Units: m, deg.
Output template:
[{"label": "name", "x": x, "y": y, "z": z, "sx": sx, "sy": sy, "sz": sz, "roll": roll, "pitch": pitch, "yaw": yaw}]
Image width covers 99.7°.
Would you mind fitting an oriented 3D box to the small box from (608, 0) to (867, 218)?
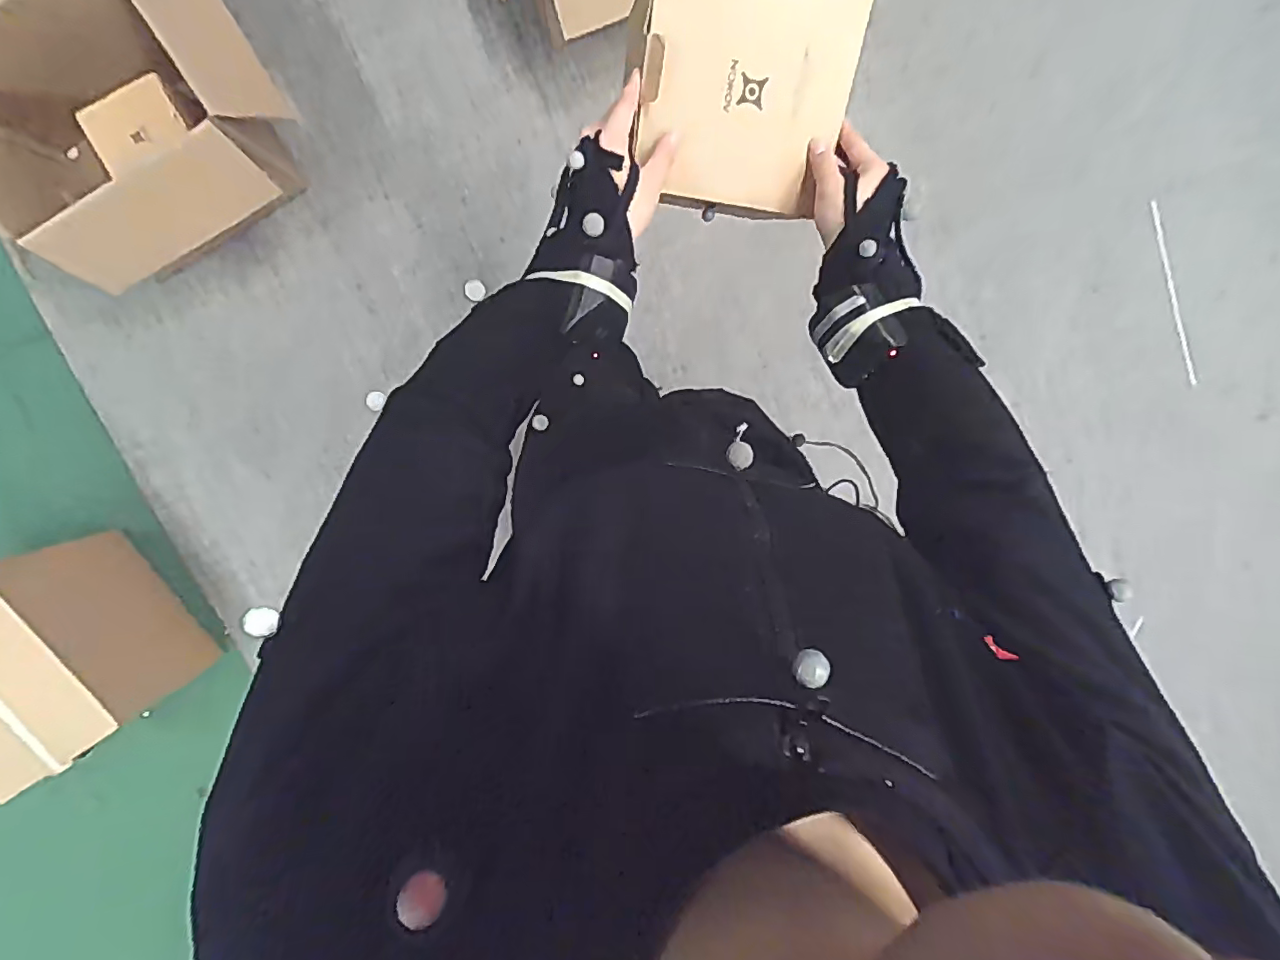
[{"label": "small box", "x": 0.069, "y": -0.346, "z": 0.503, "sx": 0.179, "sy": 0.176, "sz": 0.168, "roll": 3, "pitch": 115, "yaw": -12}]
